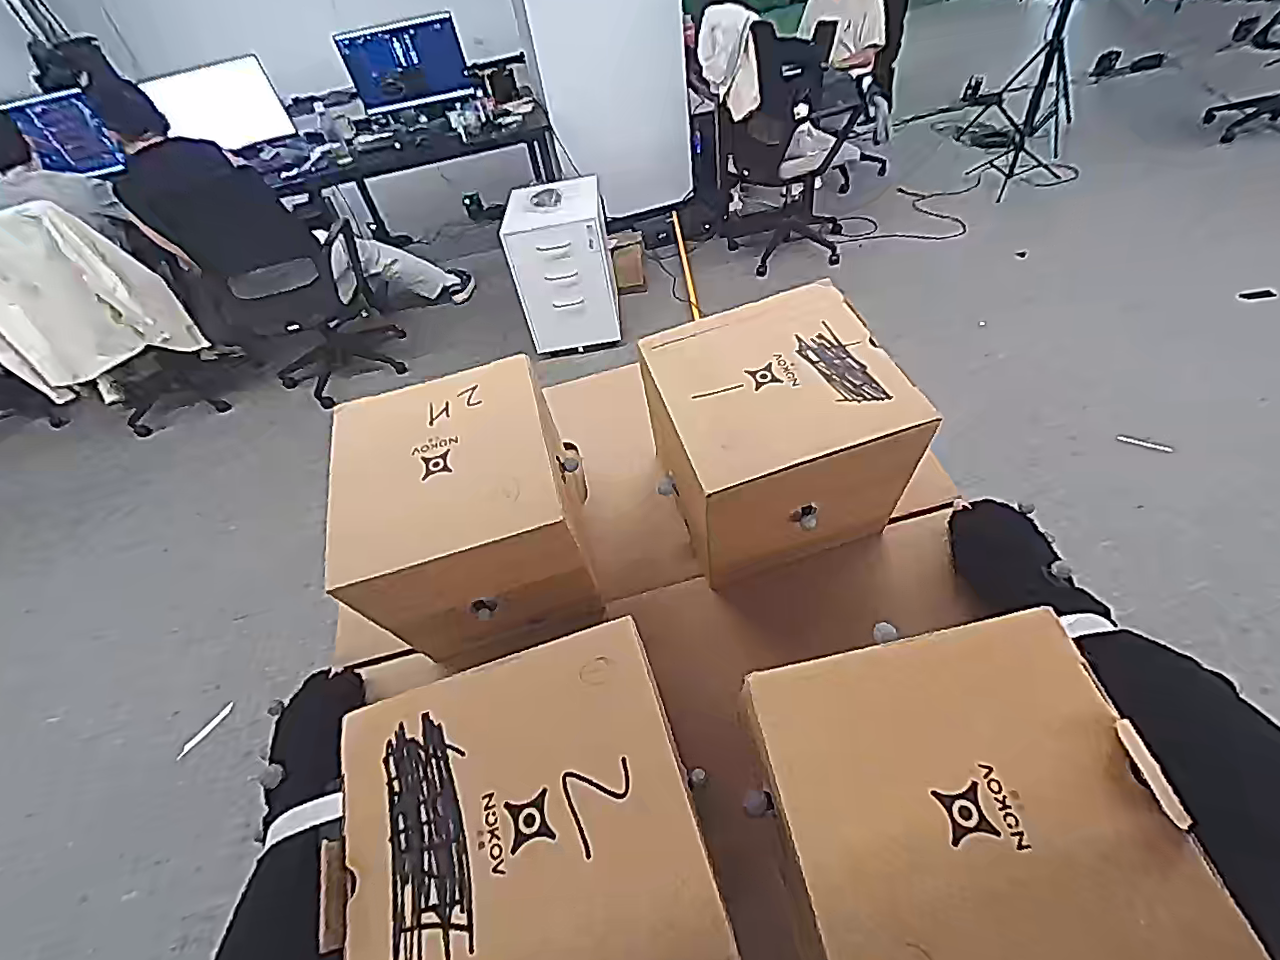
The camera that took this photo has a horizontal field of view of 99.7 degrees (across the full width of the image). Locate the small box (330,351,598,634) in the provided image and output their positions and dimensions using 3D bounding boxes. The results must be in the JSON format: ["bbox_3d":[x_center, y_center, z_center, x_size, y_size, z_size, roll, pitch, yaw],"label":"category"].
[{"bbox_3d":[-0.143,0.022,0.480,0.168,0.176,0.179,-15,56,-3],"label":"small box"}]

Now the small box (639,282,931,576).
[{"bbox_3d":[0.111,-0.037,0.481,0.179,0.176,0.168,-18,57,-2],"label":"small box"}]
